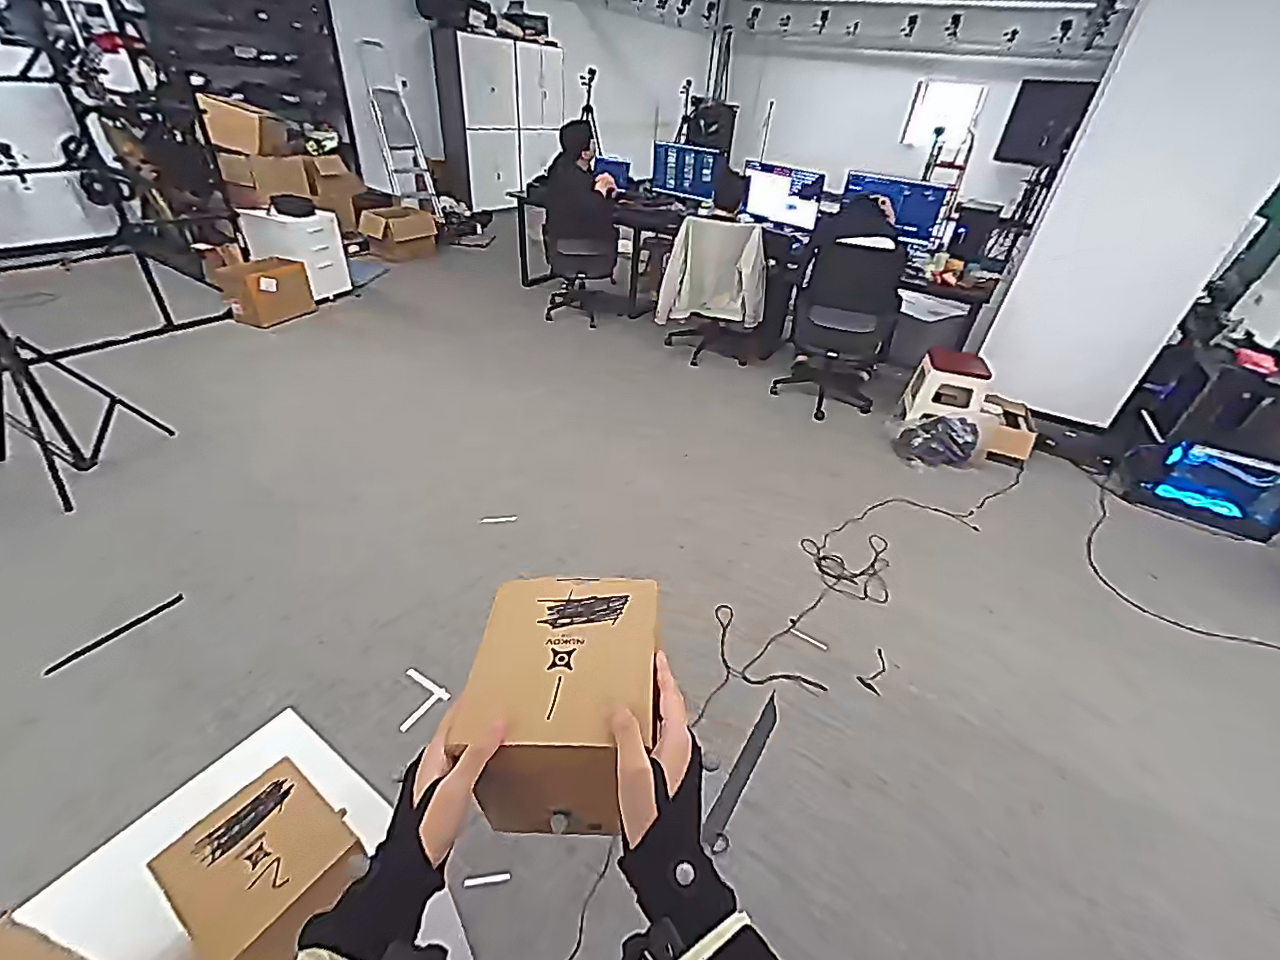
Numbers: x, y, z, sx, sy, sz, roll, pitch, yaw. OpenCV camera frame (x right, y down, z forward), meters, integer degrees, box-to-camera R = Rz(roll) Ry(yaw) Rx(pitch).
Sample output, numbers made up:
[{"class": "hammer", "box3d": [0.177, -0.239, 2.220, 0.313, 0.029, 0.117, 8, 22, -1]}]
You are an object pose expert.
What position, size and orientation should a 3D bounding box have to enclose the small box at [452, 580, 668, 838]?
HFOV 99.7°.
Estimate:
[{"class": "small box", "box3d": [-0.060, 0.219, 0.533, 0.168, 0.176, 0.179, -2, 37, 5]}]
